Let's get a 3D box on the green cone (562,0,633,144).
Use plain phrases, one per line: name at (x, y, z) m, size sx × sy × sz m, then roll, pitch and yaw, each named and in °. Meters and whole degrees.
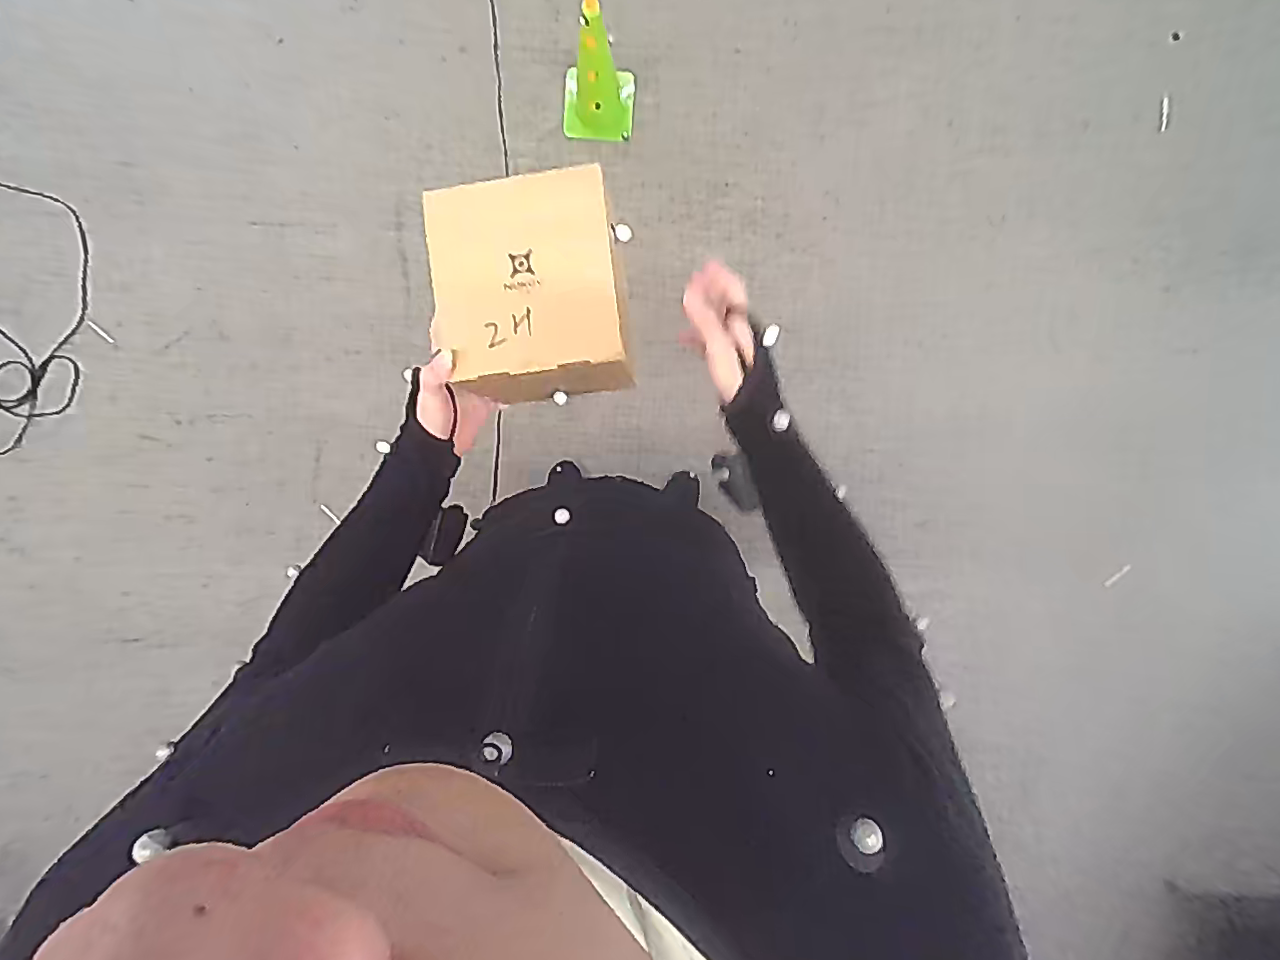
green cone at (-0.123, -1.081, 1.400) m, size 0.202 × 0.368 × 0.200 m, roll 3°, pitch 91°, yaw 0°
